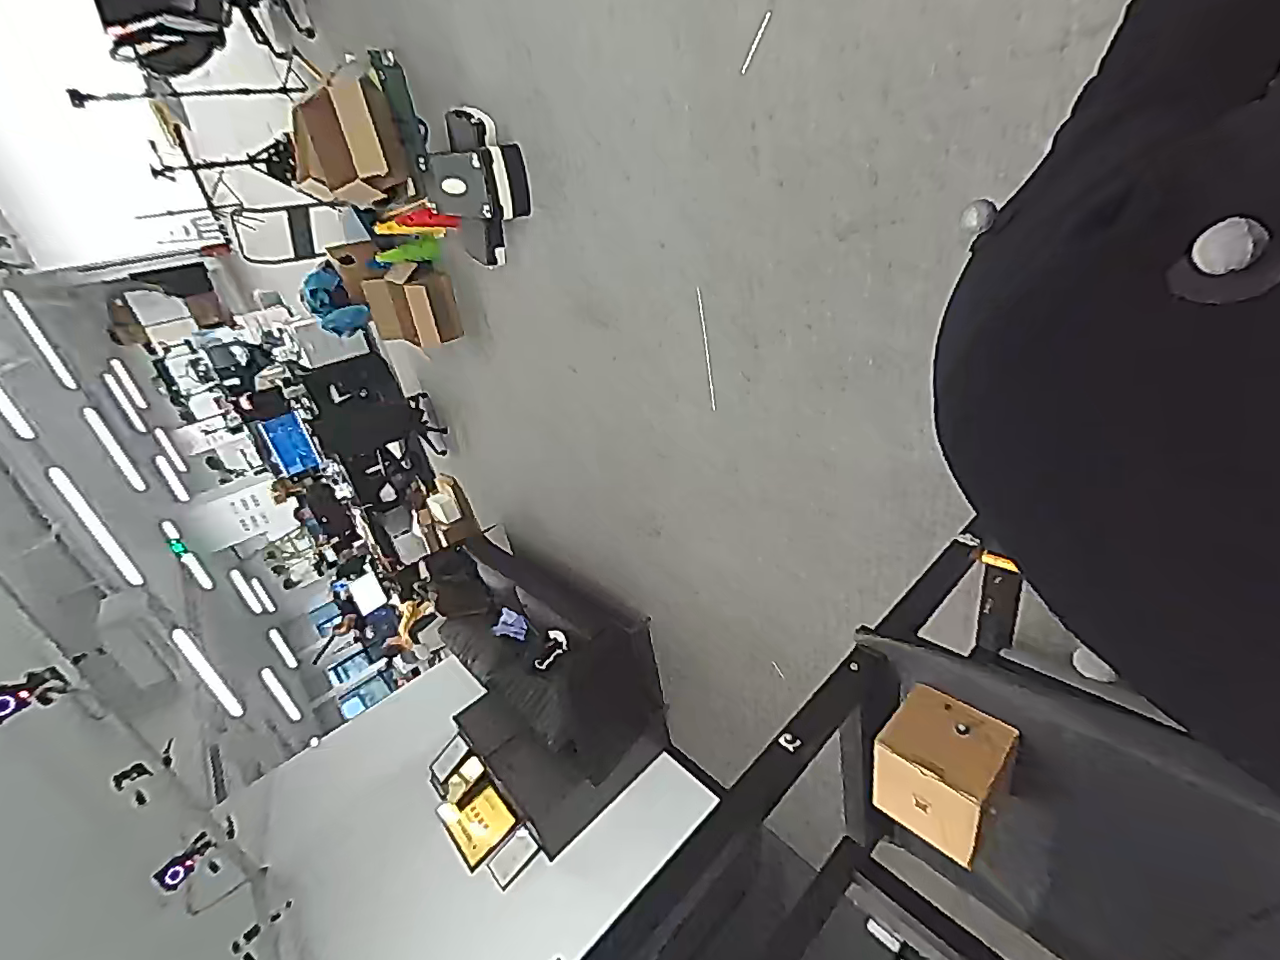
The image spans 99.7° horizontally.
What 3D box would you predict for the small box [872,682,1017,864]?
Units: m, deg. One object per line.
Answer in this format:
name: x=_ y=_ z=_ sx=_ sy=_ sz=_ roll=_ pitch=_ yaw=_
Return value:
small box: x=0.523 y=0.495 z=0.935 sx=0.168 sy=0.176 sz=0.179 roll=19 pitch=130 yaw=46
